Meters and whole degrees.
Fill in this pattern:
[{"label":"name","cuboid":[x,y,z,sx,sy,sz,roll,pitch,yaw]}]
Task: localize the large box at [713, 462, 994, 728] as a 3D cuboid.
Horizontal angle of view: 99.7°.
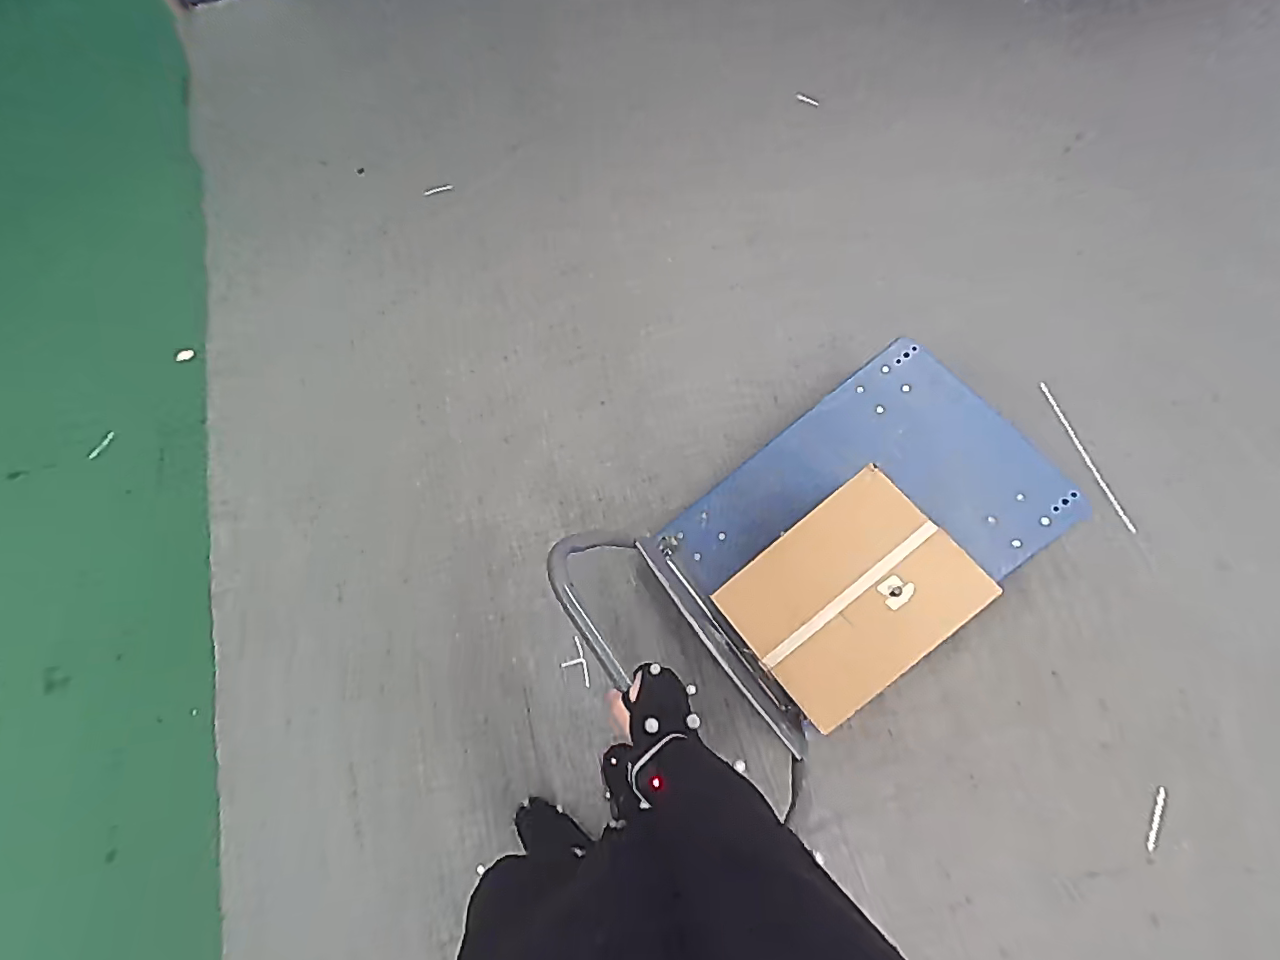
[{"label":"large box","cuboid":[0.409,0.234,1.132,0.408,0.320,0.320,-40,74,2]}]
